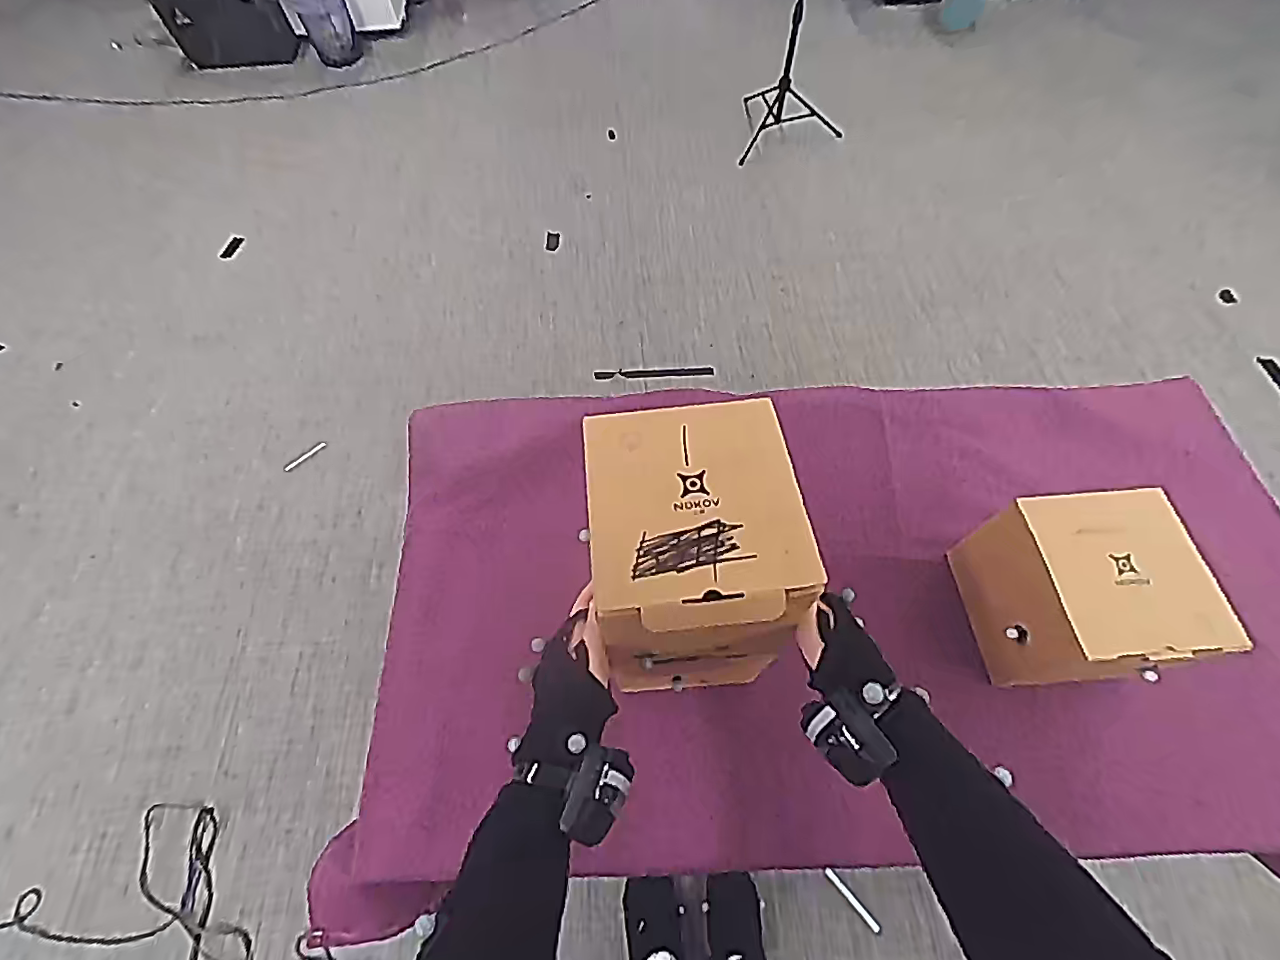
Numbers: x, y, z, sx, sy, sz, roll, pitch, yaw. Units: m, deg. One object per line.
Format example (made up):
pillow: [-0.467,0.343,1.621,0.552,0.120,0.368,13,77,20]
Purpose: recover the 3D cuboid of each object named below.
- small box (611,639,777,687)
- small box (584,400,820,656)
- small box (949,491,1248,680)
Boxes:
small box: [0.049,0.136,0.636,0.168,0.176,0.179,-4,63,-1]
small box: [0.043,0.053,0.491,0.168,0.176,0.179,-6,60,-2]
small box: [0.498,0.130,0.624,0.168,0.176,0.179,-4,62,-1]
